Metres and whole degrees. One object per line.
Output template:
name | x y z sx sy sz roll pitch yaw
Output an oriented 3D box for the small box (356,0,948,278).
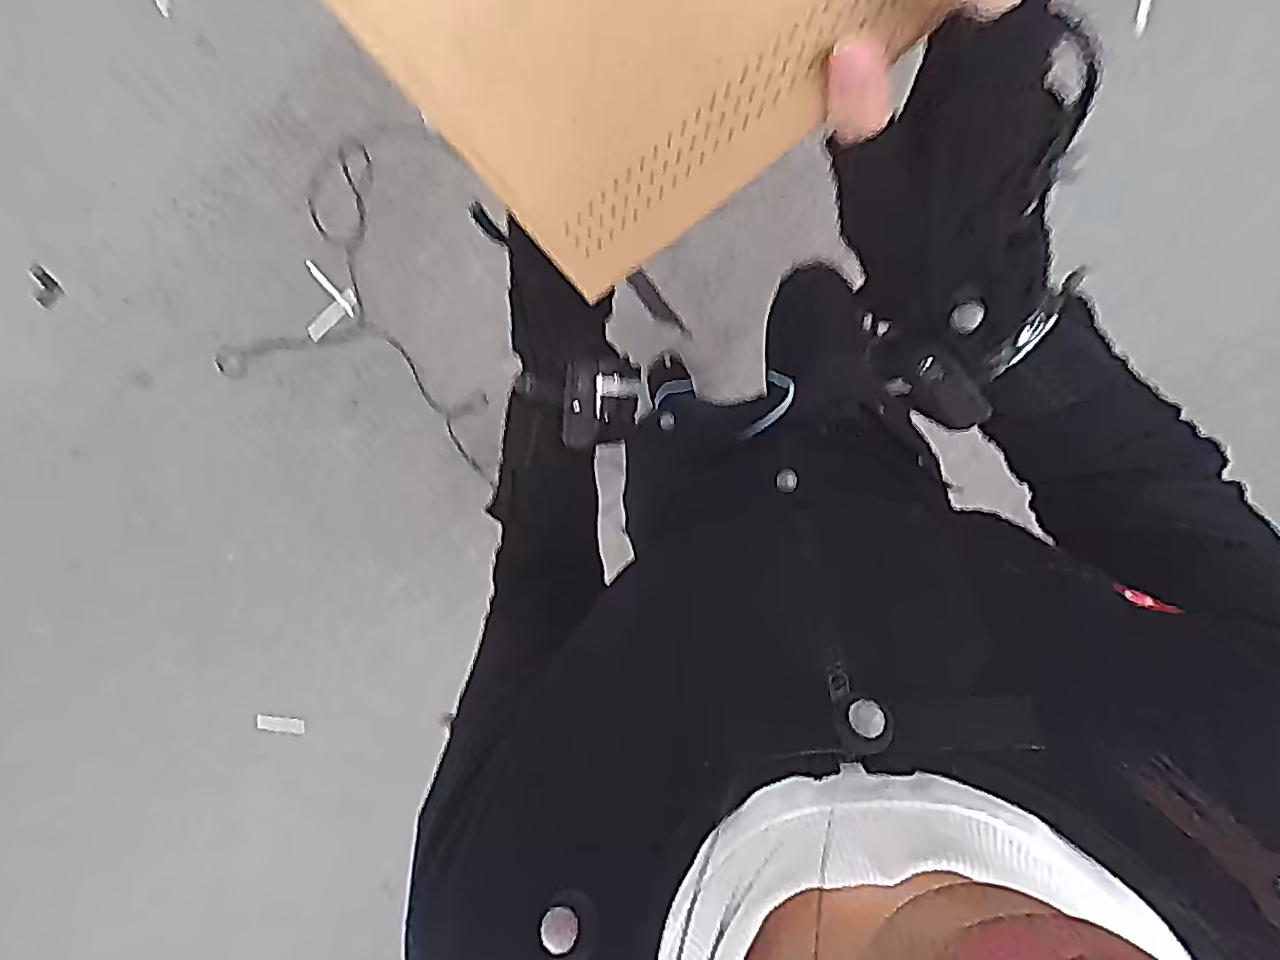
small box | -0.004 -0.226 0.234 0.179 0.168 0.176 -30 131 23
